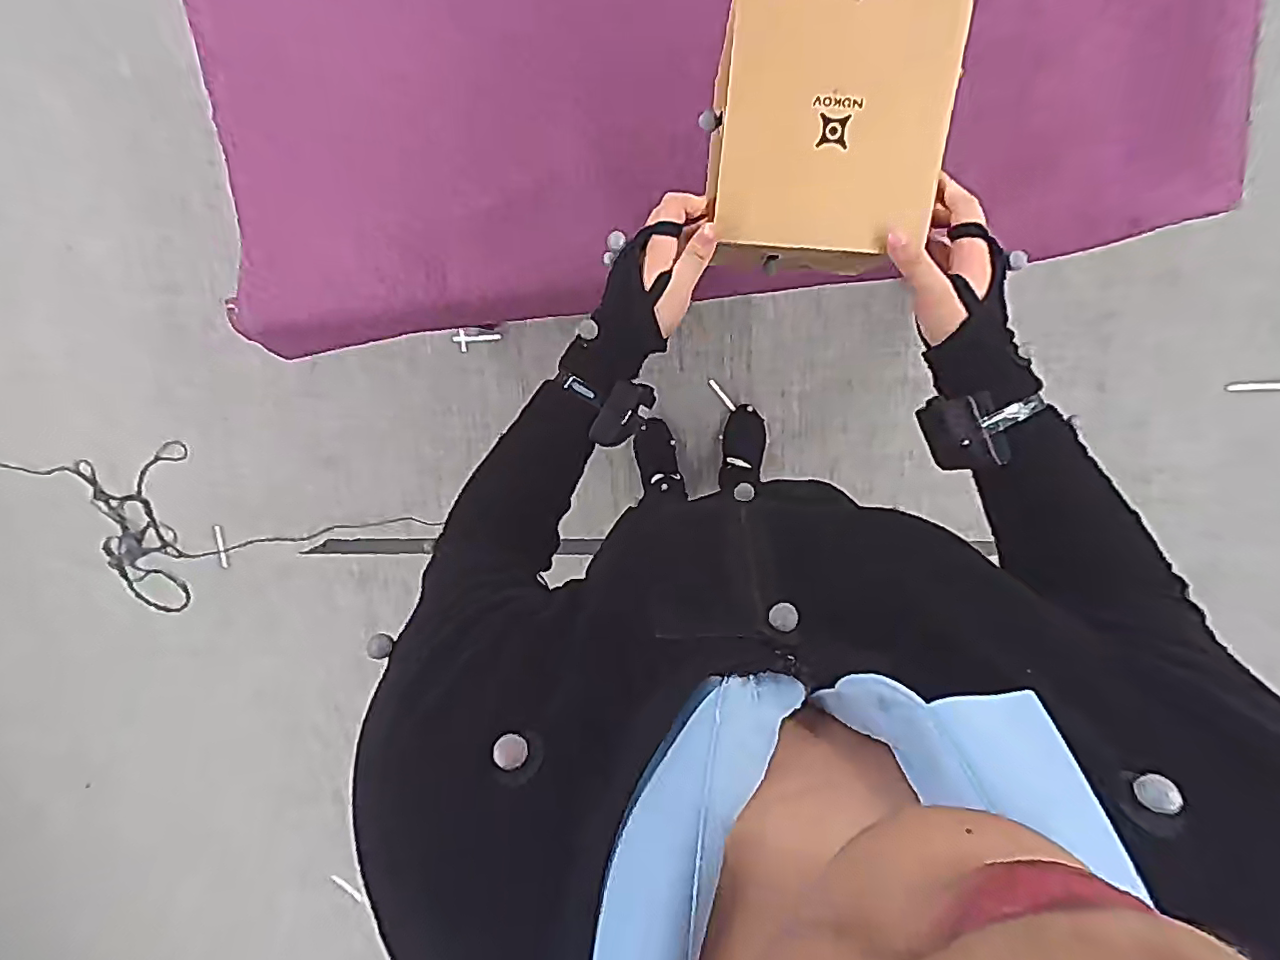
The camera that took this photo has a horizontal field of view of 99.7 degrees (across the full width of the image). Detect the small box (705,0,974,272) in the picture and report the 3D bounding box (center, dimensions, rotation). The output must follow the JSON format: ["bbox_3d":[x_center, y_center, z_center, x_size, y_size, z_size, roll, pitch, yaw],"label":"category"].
[{"bbox_3d":[0.150,-0.287,0.476,0.168,0.176,0.179,5,105,2],"label":"small box"}]

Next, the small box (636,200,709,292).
[{"bbox_3d":[0.083,-0.551,1.298,0.168,0.176,0.179,-1,102,6],"label":"small box"}]
